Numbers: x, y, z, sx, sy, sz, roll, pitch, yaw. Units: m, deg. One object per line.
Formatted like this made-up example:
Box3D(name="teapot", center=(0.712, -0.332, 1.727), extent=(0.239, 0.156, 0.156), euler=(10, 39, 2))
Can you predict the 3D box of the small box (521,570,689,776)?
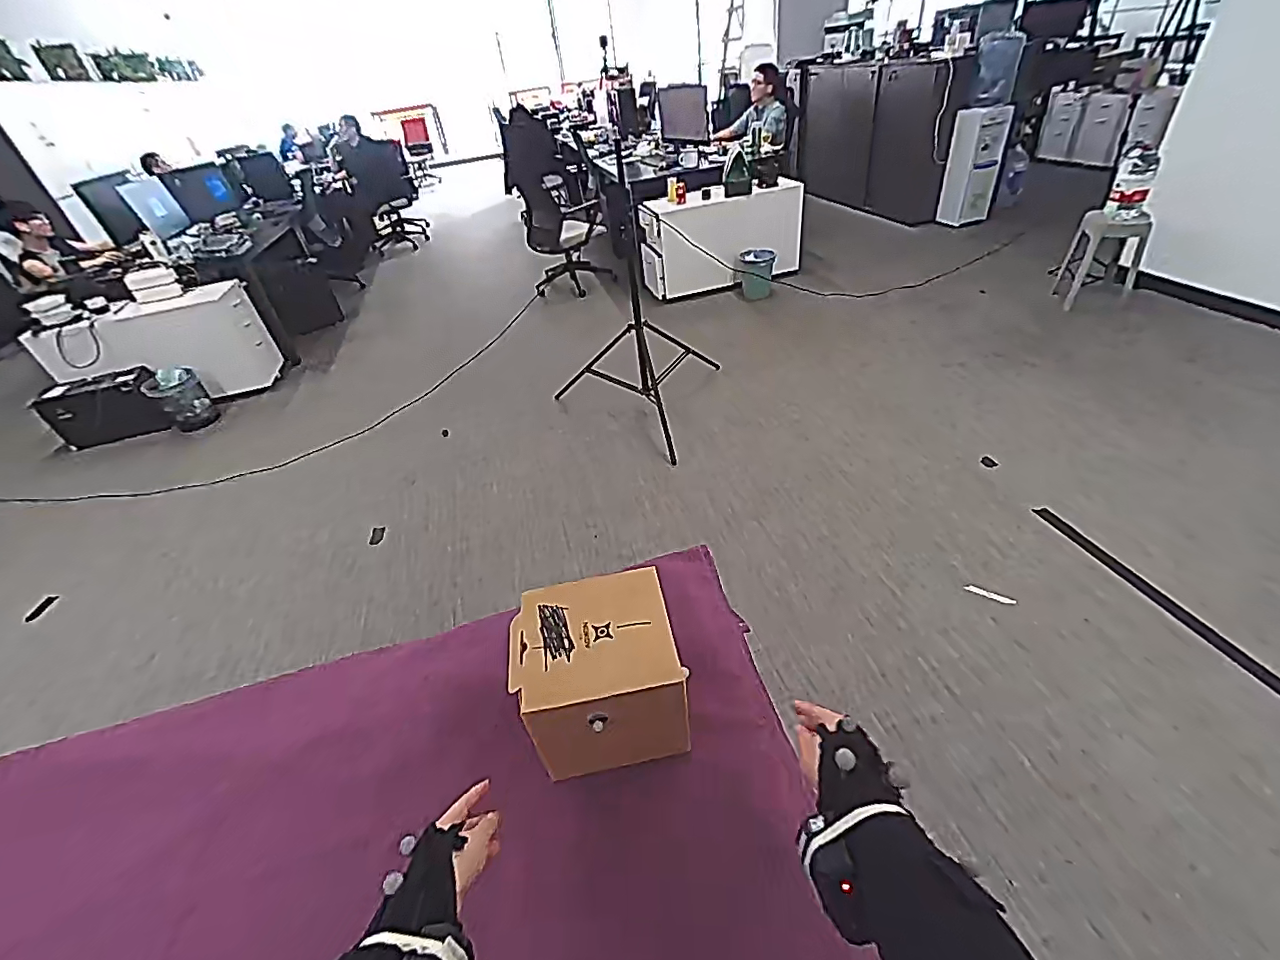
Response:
Box3D(name="small box", center=(-0.043, 0.243, 0.679), extent=(0.179, 0.176, 0.168), euler=(-10, 40, -4))
